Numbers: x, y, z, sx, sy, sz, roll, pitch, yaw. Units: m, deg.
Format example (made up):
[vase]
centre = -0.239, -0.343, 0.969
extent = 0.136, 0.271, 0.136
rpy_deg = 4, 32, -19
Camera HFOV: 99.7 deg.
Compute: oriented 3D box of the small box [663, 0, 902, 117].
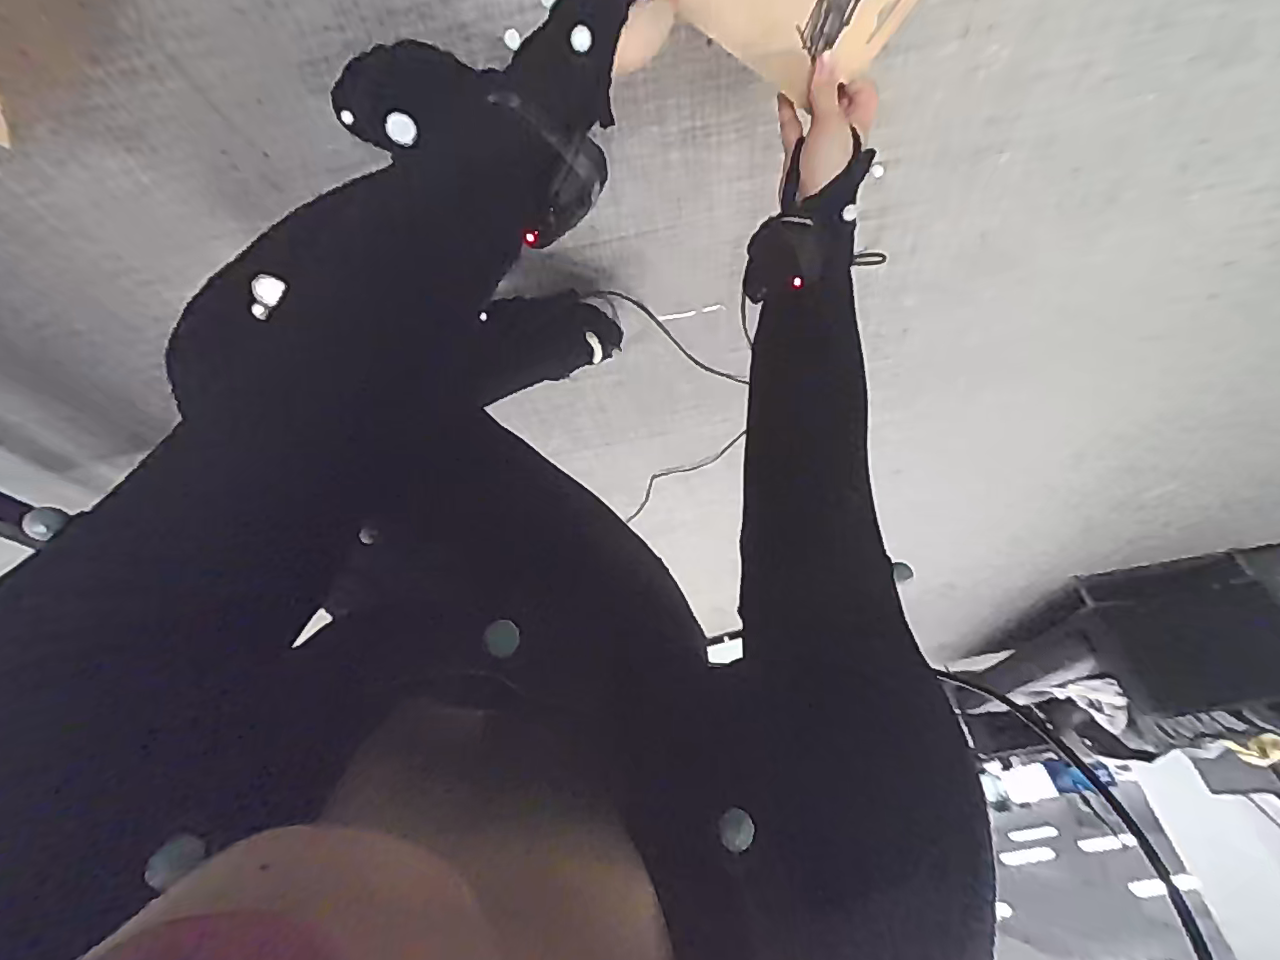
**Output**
[small box]
centre = 0.122, -0.455, 0.442
extent = 0.179, 0.176, 0.168
rpy_deg = 20, 138, -24
